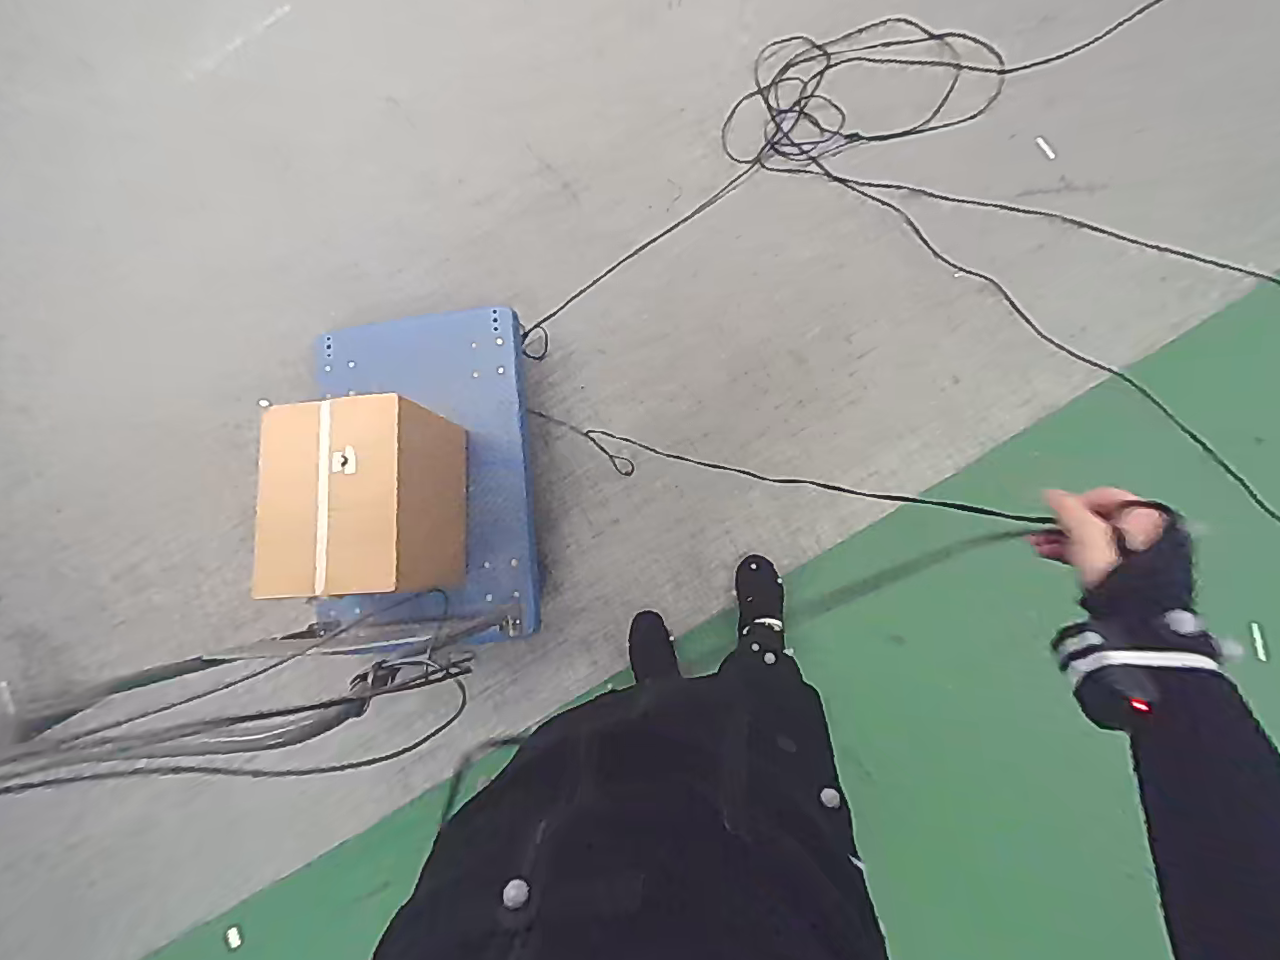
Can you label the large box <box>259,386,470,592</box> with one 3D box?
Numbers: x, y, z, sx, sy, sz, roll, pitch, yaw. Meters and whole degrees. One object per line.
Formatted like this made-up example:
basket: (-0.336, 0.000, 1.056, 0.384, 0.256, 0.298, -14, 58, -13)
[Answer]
large box: (-0.601, 0.038, 1.231, 0.320, 0.320, 0.408, -4, 81, 7)
